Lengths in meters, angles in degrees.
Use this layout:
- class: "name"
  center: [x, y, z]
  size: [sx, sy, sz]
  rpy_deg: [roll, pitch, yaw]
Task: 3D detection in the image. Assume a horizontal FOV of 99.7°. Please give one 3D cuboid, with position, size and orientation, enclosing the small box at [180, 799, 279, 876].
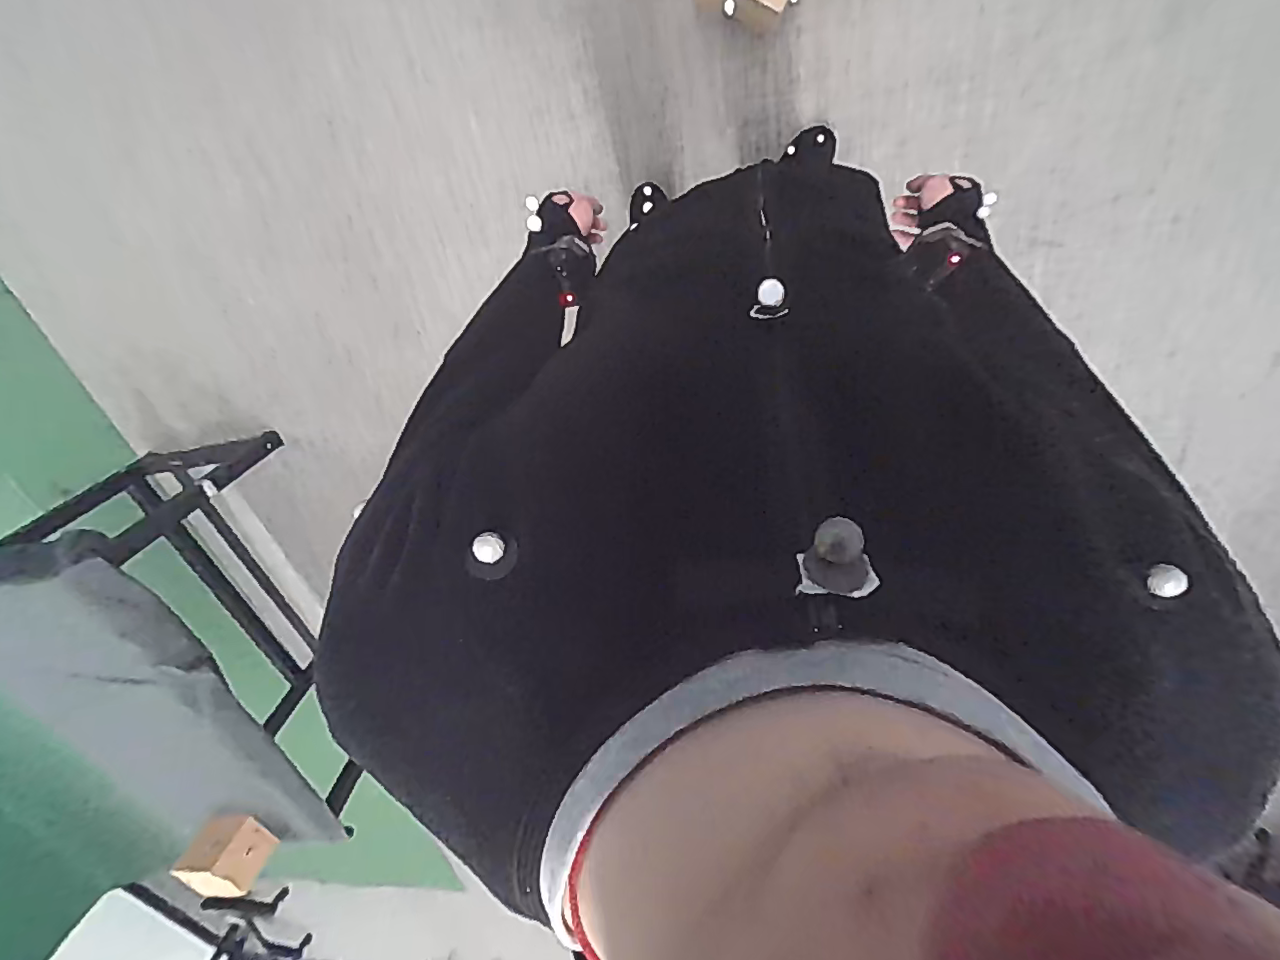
- class: "small box"
  center: [-1.353, 1.189, 1.802]
  size: [0.179, 0.176, 0.168]
  rpy_deg: [-10, 121, 14]
